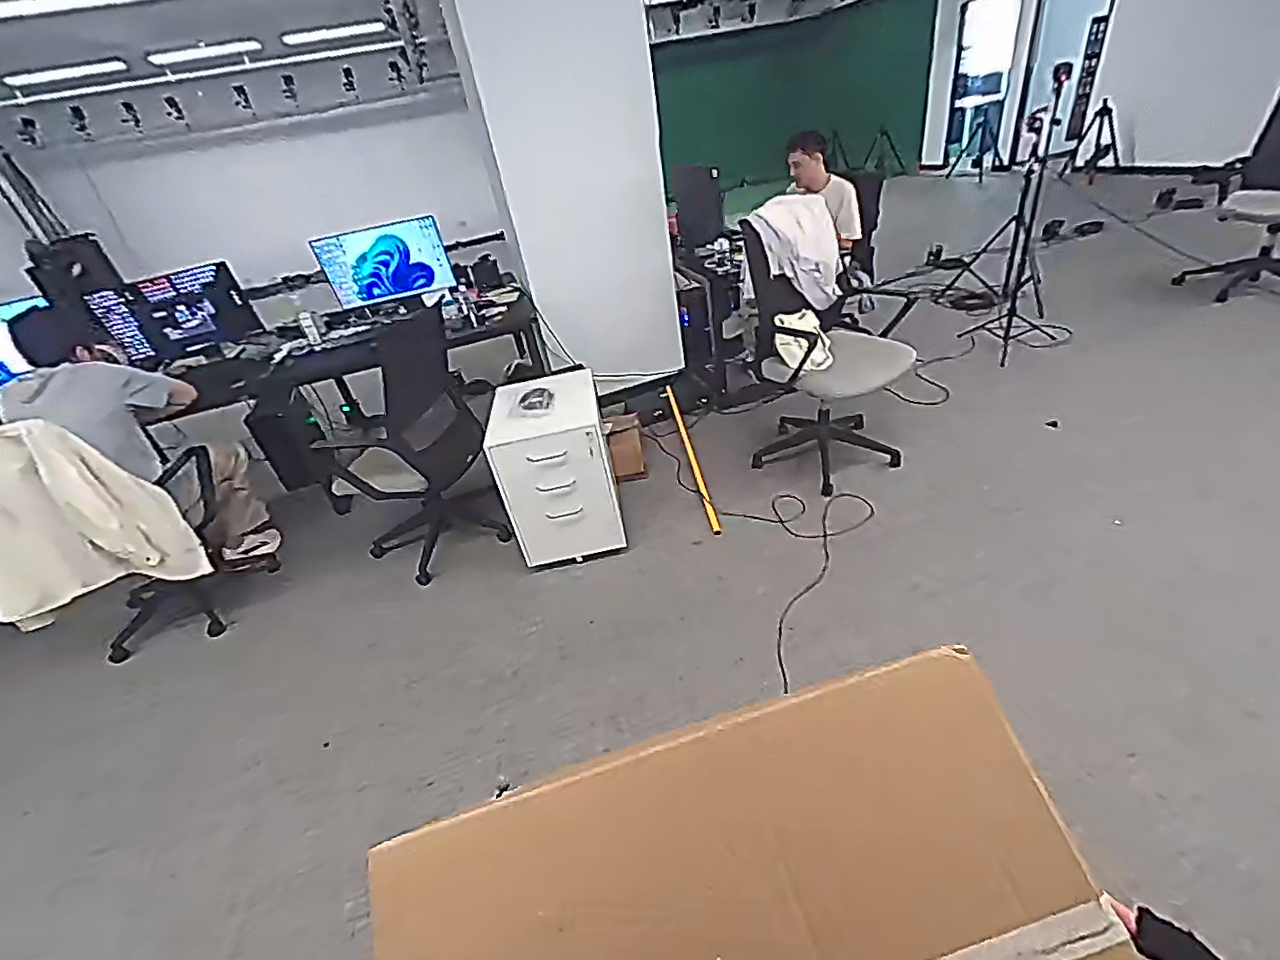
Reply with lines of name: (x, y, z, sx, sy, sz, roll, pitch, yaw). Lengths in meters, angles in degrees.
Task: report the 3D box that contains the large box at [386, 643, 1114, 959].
large box: (0.078, 0.367, 0.435, 0.408, 0.320, 0.320, -18, 67, -4)
